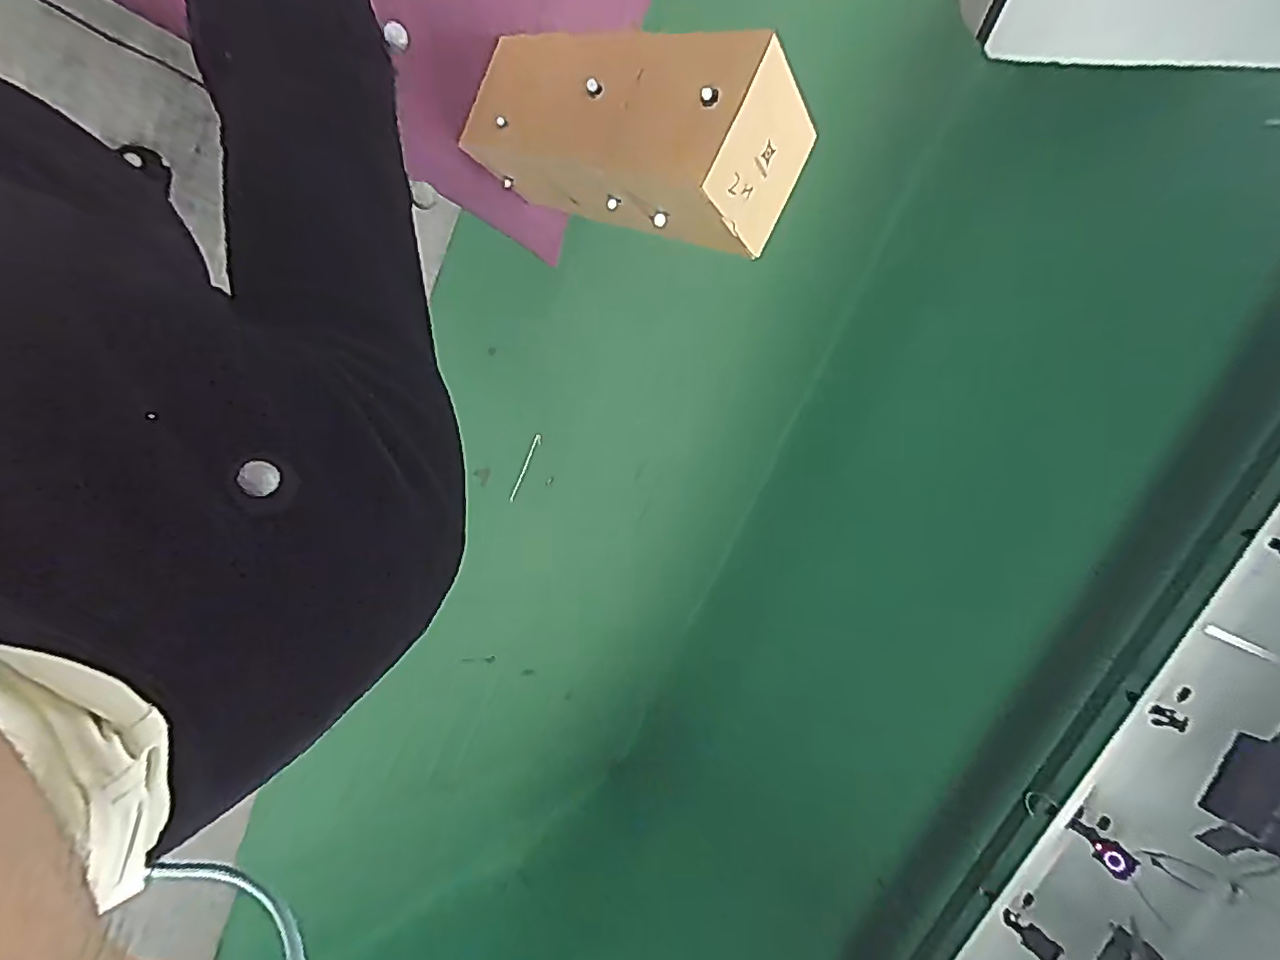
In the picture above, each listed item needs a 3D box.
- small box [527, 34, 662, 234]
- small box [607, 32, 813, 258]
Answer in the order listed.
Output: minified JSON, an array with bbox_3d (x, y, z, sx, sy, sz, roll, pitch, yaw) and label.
[{"bbox_3d":[-0.033,-0.489,0.777,0.168,0.176,0.179,14,103,-55],"label":"small box"},{"bbox_3d":[0.087,-0.419,0.688,0.168,0.176,0.179,16,103,-55],"label":"small box"}]
